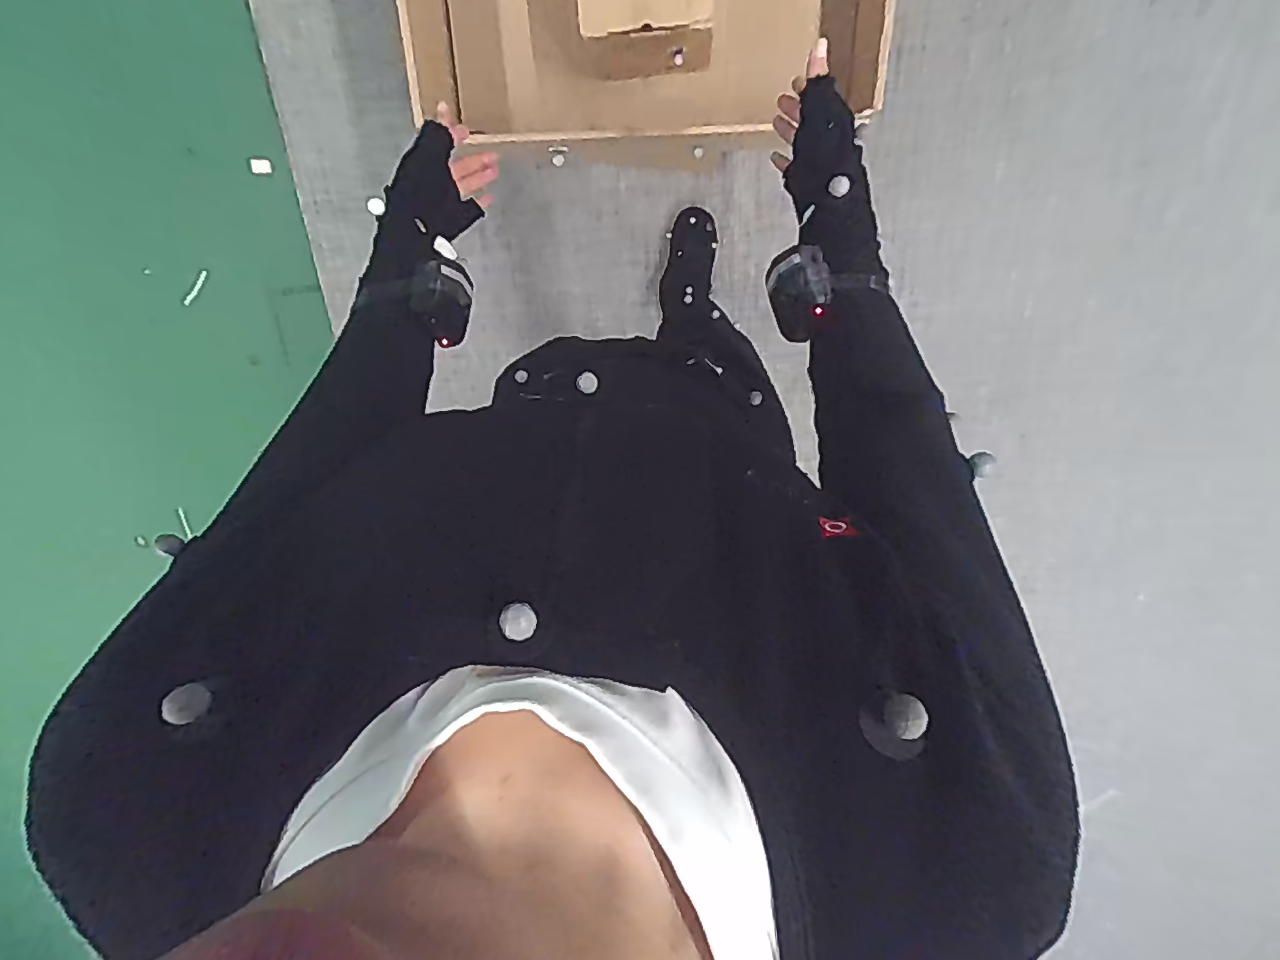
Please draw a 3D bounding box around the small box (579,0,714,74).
[{"bbox_3d":[0.011,-0.657,0.702,0.168,0.176,0.179,-2,111,5],"label":"small box"}]
